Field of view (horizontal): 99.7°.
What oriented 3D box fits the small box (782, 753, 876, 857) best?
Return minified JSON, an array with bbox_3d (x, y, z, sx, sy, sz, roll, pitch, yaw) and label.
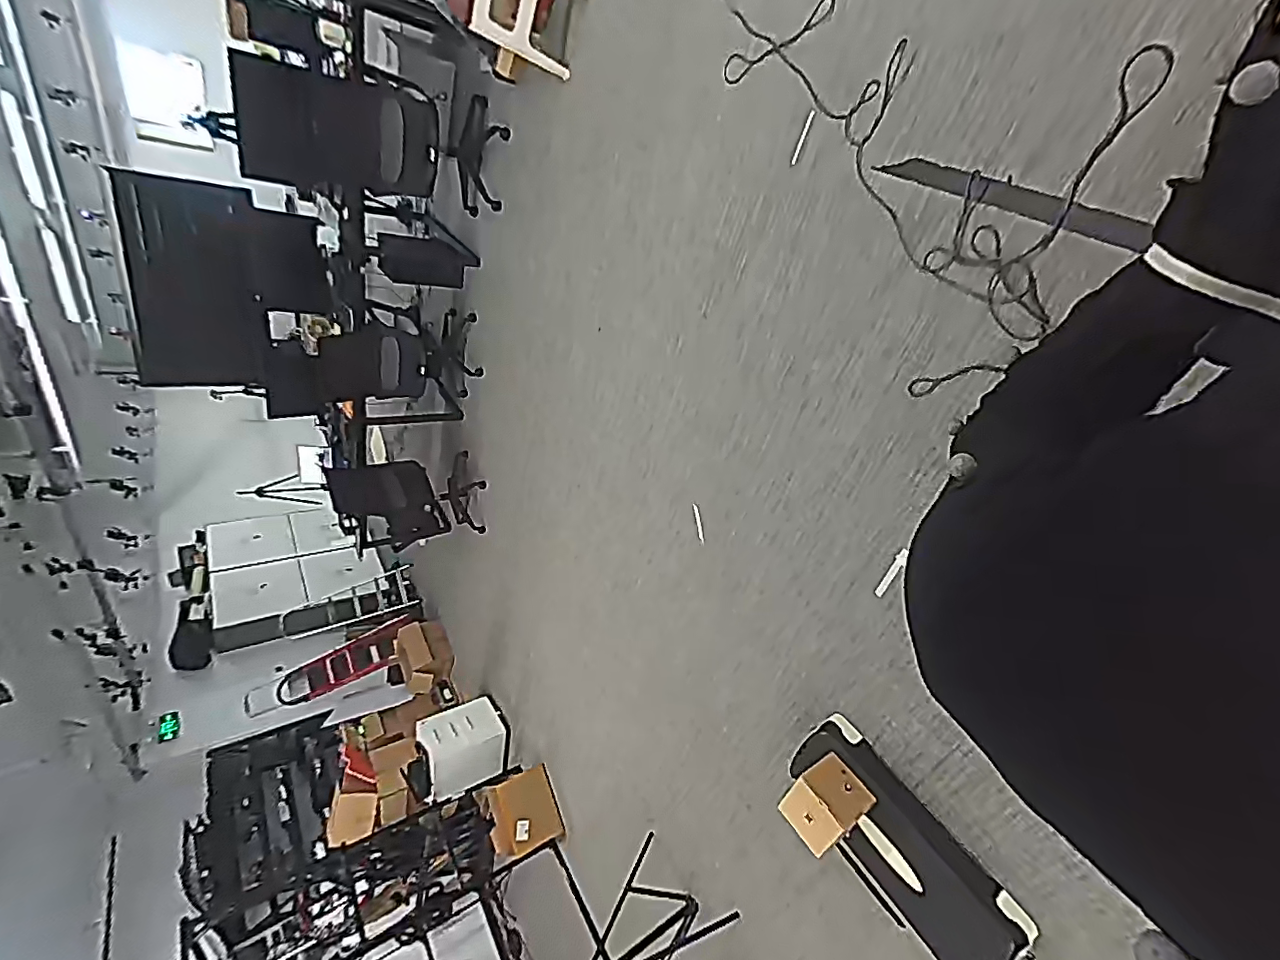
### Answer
[{"bbox_3d":[0.558,0.951,1.592,0.168,0.176,0.179,44,130,39],"label":"small box"}]
